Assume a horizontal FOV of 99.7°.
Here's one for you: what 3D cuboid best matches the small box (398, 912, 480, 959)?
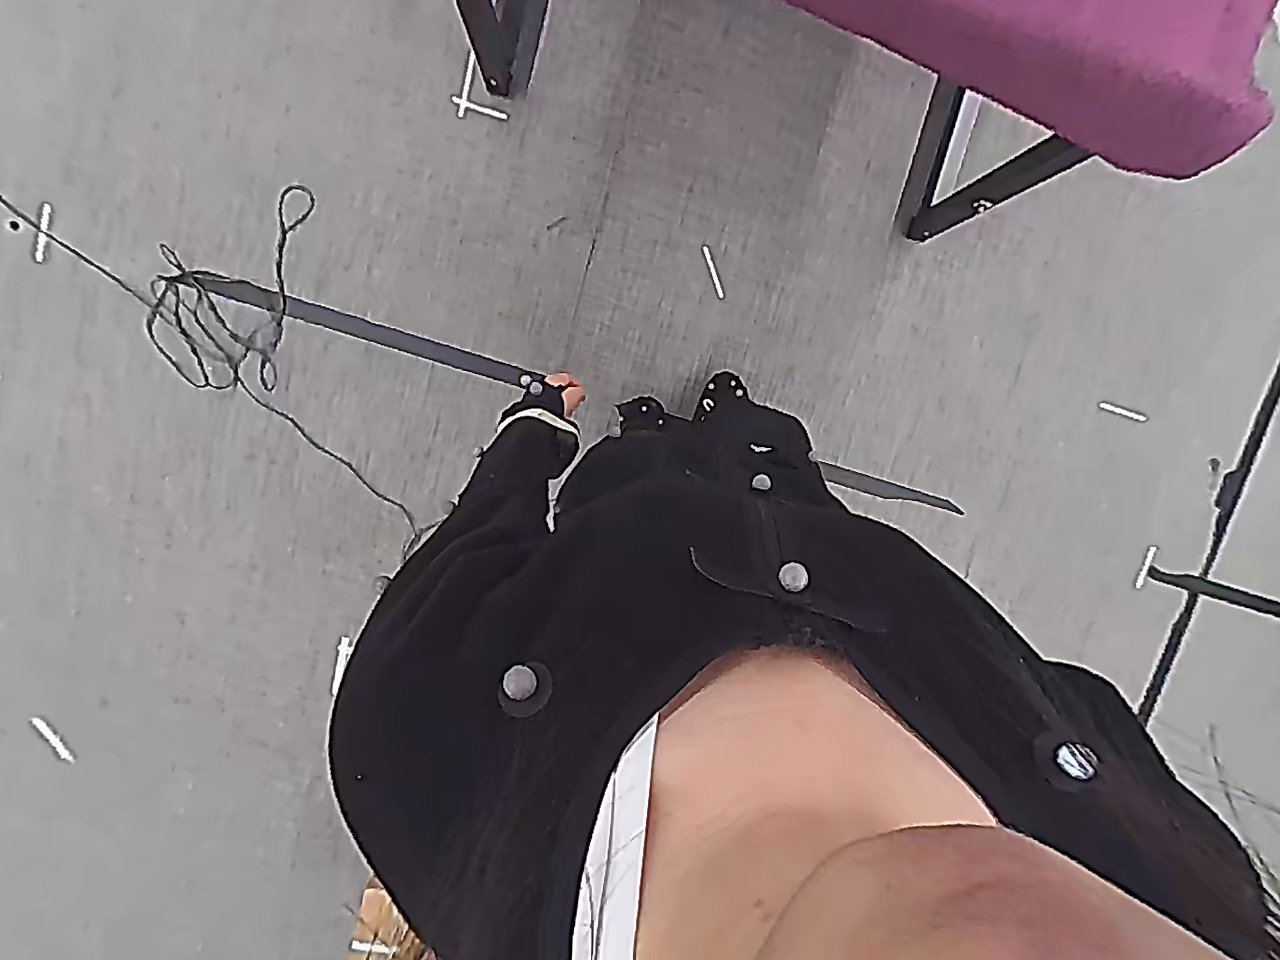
[{"bbox_3d":[-0.476,1.152,1.241,0.168,0.176,0.179,12,96,-6],"label":"small box"}]
